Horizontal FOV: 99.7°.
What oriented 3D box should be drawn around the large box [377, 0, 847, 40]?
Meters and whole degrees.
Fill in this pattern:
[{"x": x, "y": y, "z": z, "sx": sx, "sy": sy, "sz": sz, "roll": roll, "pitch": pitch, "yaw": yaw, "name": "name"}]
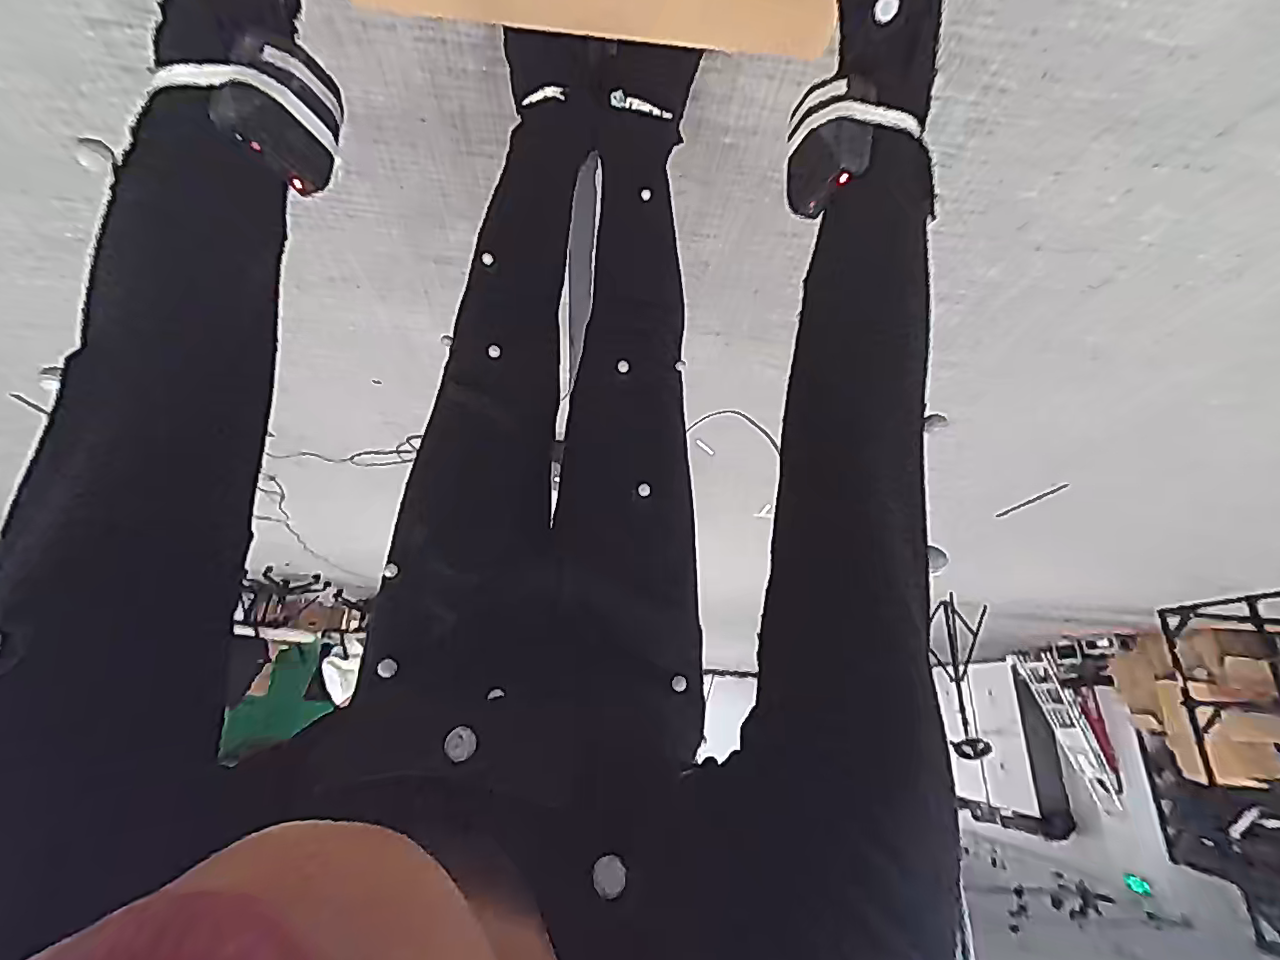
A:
[{"x": -0.017, "y": -0.587, "z": 0.377, "sx": 0.408, "sy": 0.320, "sz": 0.320, "roll": 3, "pitch": 159, "yaw": -3, "name": "large box"}]
